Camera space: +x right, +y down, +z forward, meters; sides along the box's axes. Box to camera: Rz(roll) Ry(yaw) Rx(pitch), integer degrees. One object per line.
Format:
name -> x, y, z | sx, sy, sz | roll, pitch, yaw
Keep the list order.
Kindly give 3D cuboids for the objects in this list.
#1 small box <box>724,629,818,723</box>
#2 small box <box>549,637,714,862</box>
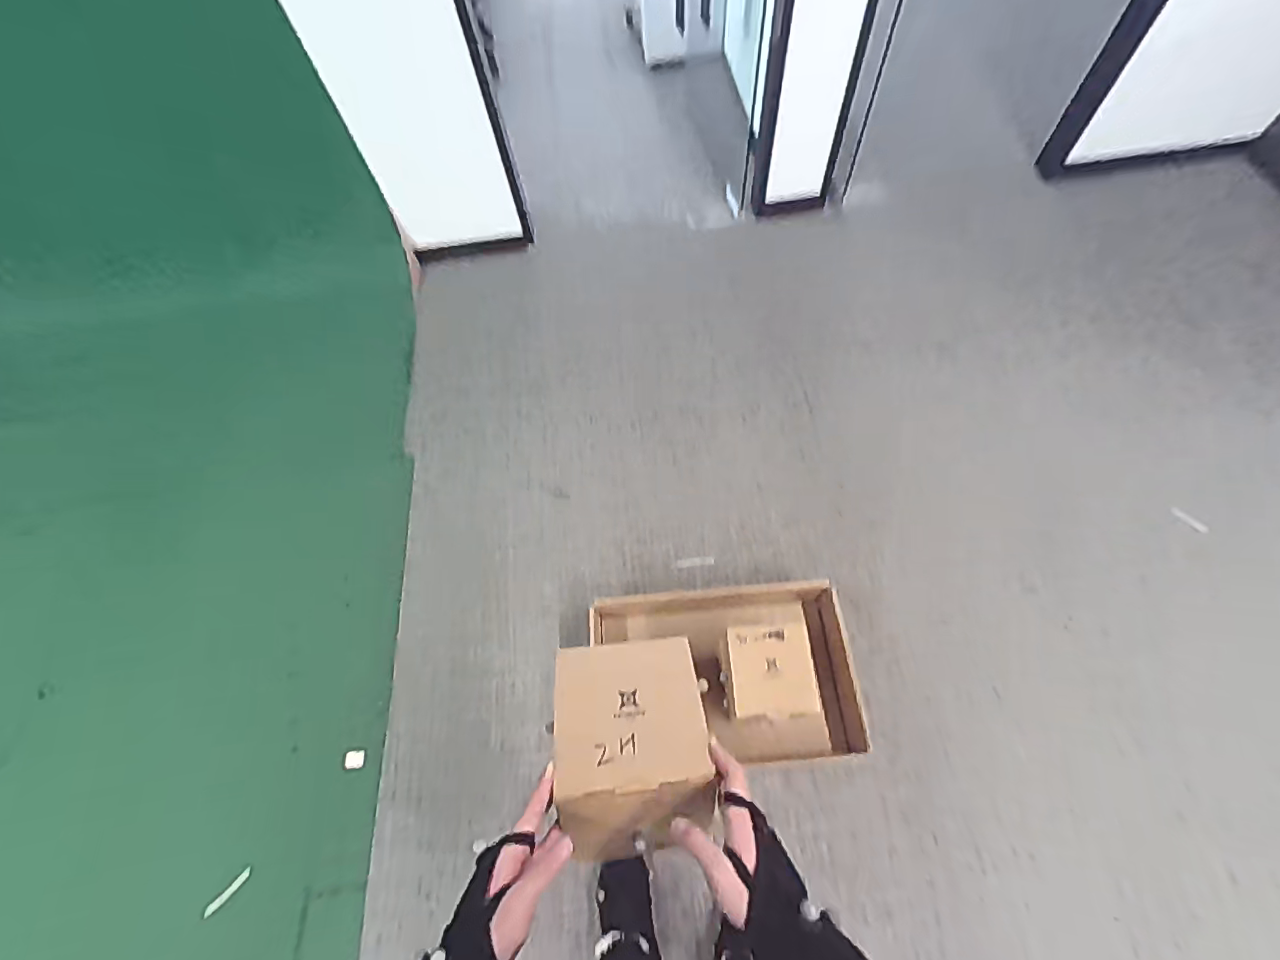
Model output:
small box -> 0.272, 0.423, 1.158 | 0.168, 0.176, 0.179 | -4, 65, 4
small box -> -0.013, 0.315, 0.643 | 0.168, 0.176, 0.179 | -5, 36, -3
